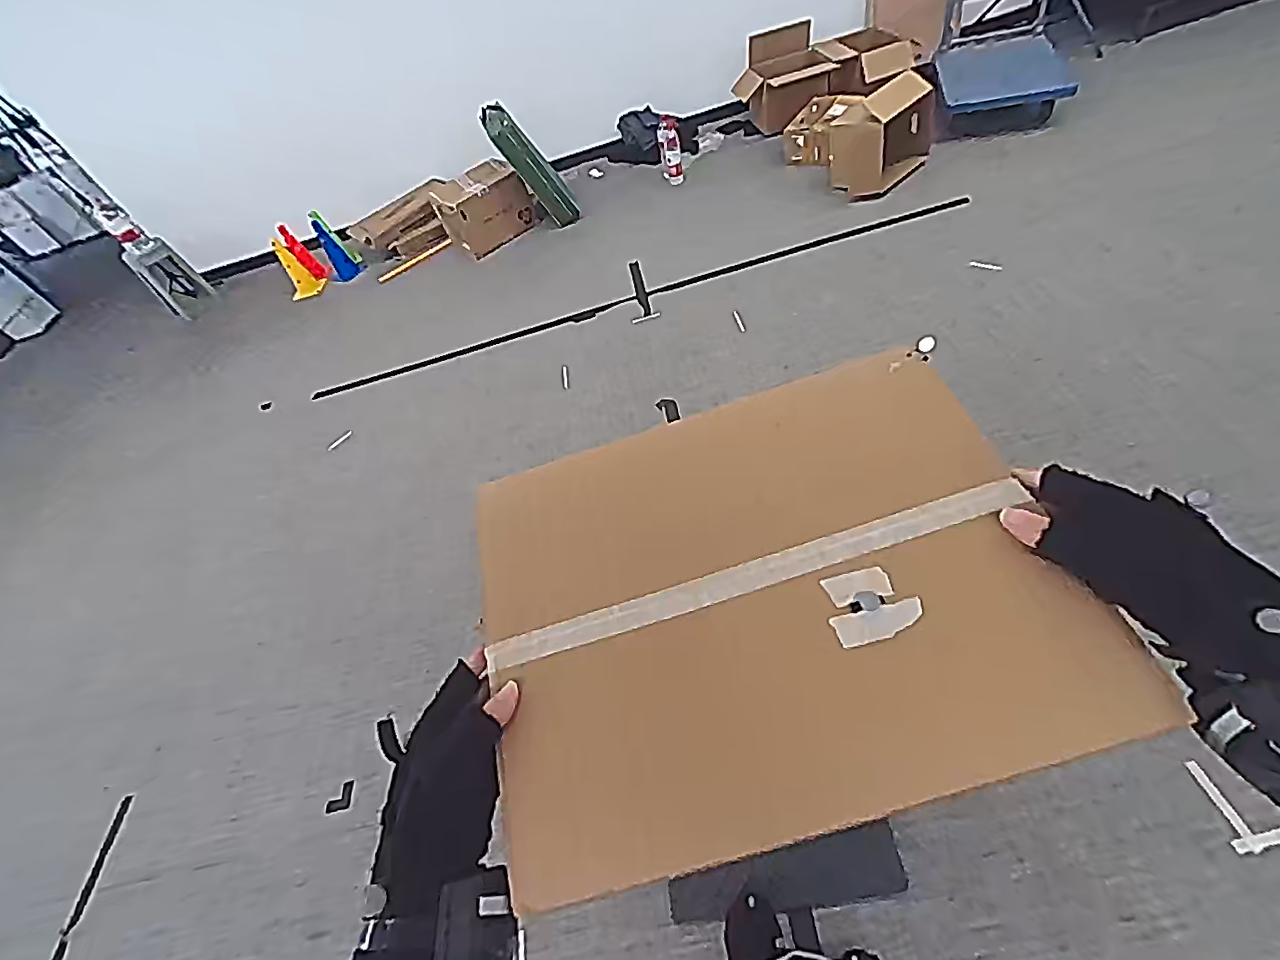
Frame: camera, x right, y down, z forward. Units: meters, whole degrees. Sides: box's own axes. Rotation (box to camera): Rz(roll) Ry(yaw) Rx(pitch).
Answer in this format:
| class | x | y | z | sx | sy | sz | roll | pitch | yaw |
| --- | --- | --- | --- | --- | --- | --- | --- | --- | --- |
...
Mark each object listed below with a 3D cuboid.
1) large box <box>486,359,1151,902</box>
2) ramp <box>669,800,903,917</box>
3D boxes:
| class | x | y | z | sx | sy | sz | roll | pitch | yaw |
| --- | --- | --- | --- | --- | --- | --- | --- | --- | --- |
| large box | 0.111 | 0.151 | 0.532 | 0.408 | 0.320 | 0.320 | -18 | 58 | 2 |
| ramp | 0.239 | 0.454 | 1.375 | 0.509 | 0.206 | 0.991 | -14 | 50 | 4 |
